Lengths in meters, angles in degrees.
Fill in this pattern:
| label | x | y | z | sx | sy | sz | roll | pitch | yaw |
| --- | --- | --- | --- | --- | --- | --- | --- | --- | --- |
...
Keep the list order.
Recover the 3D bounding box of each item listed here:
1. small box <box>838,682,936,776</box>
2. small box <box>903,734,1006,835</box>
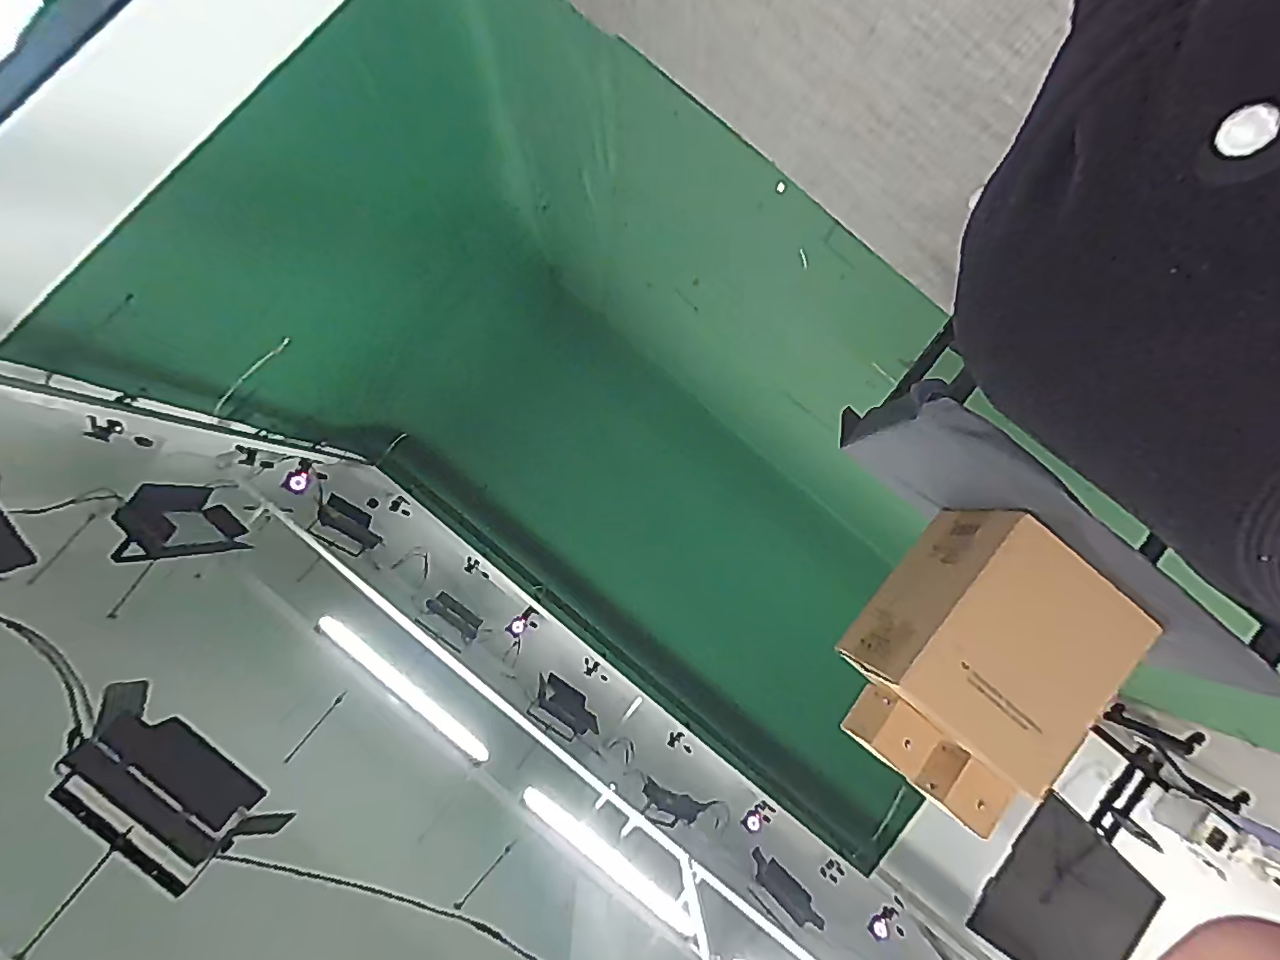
| label | x | y | z | sx | sy | sz | roll | pitch | yaw |
| --- | --- | --- | --- | --- | --- | --- | --- | --- | --- |
| small box | 0.753 | 0.751 | 1.652 | 0.179 | 0.176 | 0.168 | 40 | 170 | -3 |
| small box | 0.953 | 0.913 | 1.638 | 0.179 | 0.176 | 0.168 | 40 | 170 | -2 |
